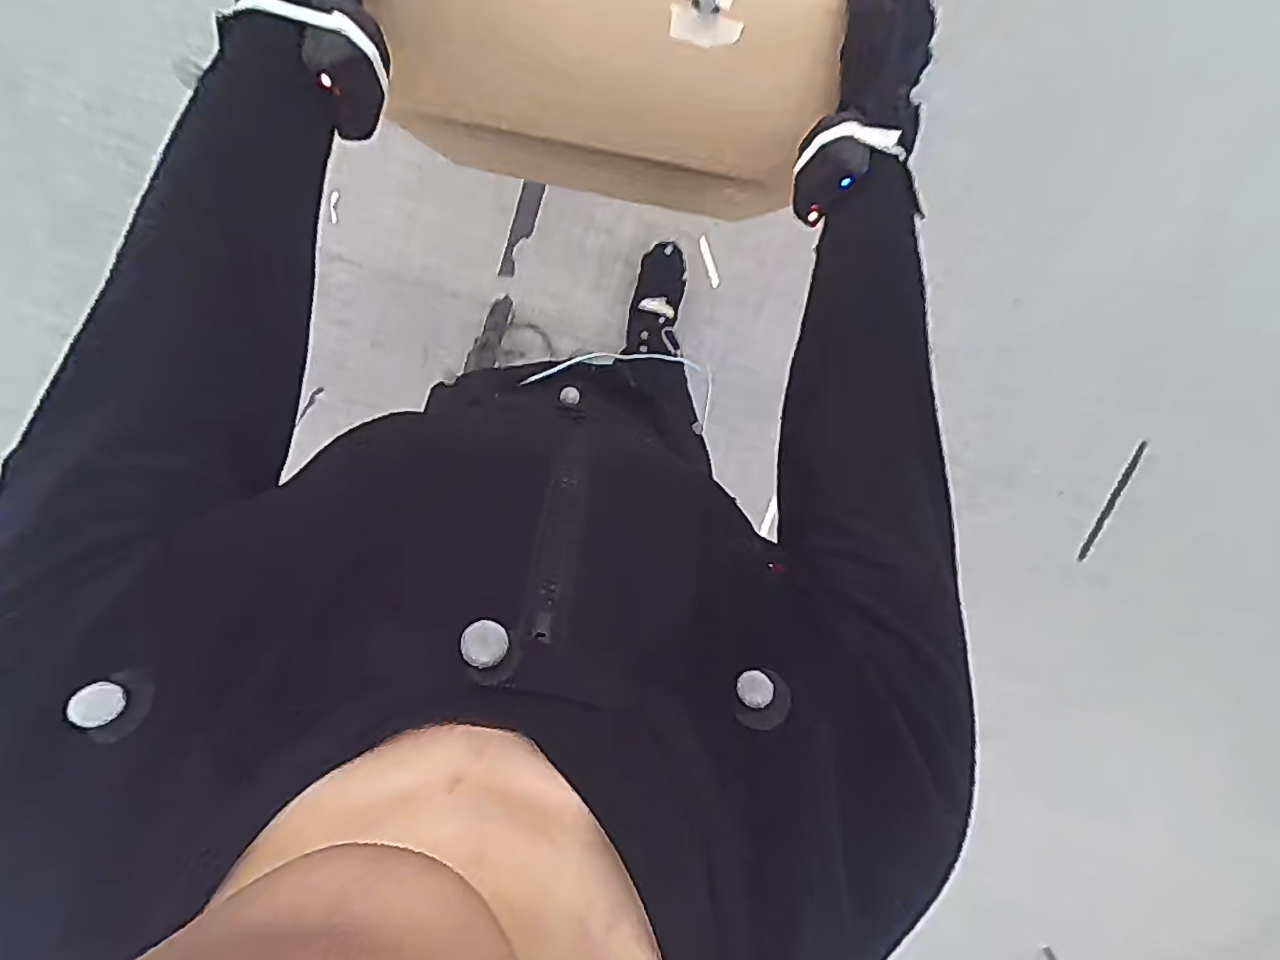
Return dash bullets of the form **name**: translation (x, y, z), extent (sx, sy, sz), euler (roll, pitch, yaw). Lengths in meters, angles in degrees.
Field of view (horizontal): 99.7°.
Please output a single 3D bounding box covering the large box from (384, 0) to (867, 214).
- **large box**: translation (-0.014, -0.491, 0.568), extent (0.408, 0.320, 0.320), euler (6, 112, -8)
